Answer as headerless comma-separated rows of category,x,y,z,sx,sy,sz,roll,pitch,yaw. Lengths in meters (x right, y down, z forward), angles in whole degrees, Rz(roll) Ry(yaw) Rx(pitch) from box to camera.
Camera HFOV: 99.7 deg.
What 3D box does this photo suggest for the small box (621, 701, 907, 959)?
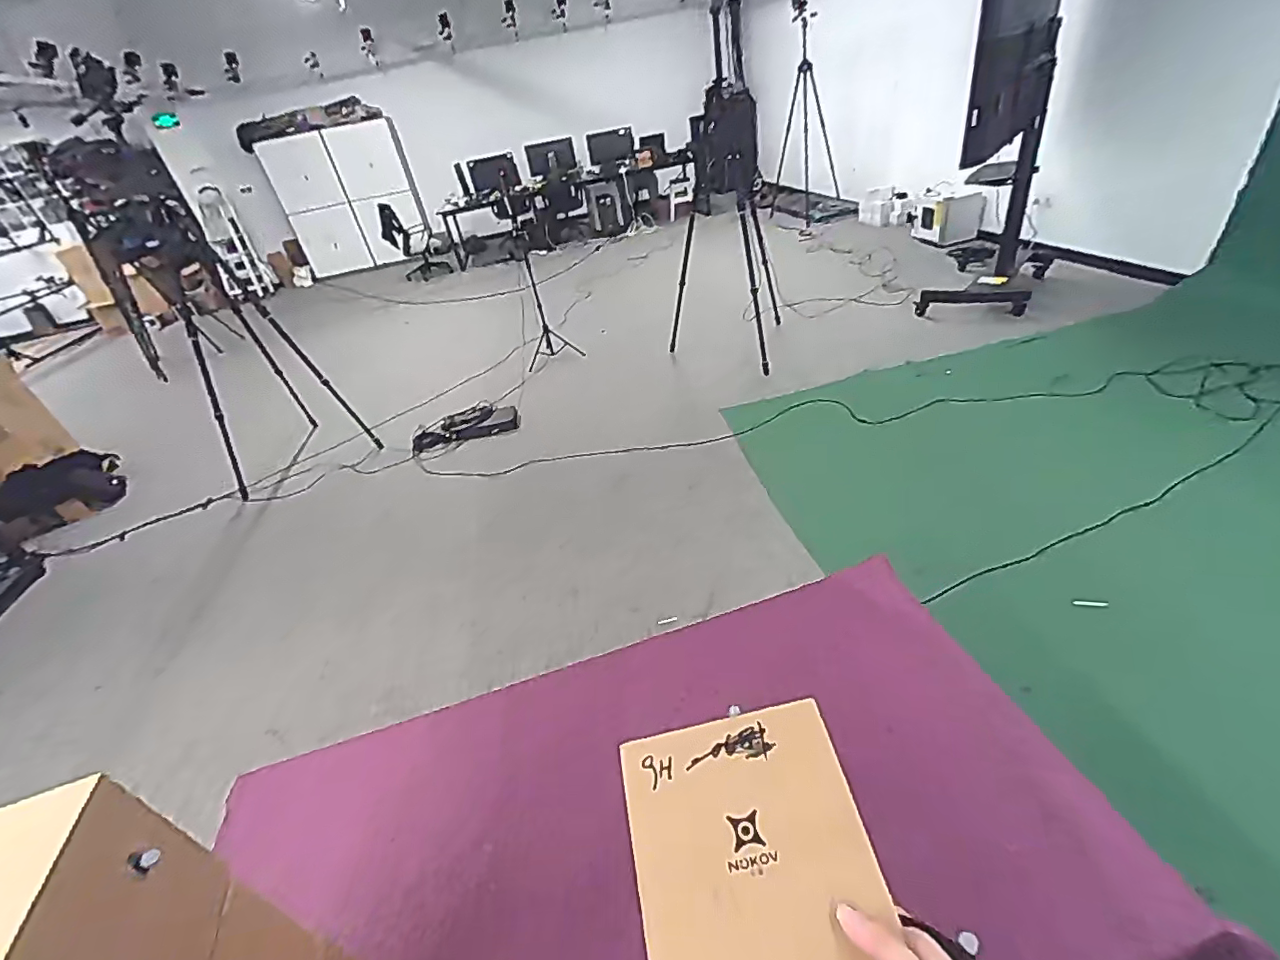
small box,0.090,0.311,0.446,0.168,0.176,0.179,-13,49,1
